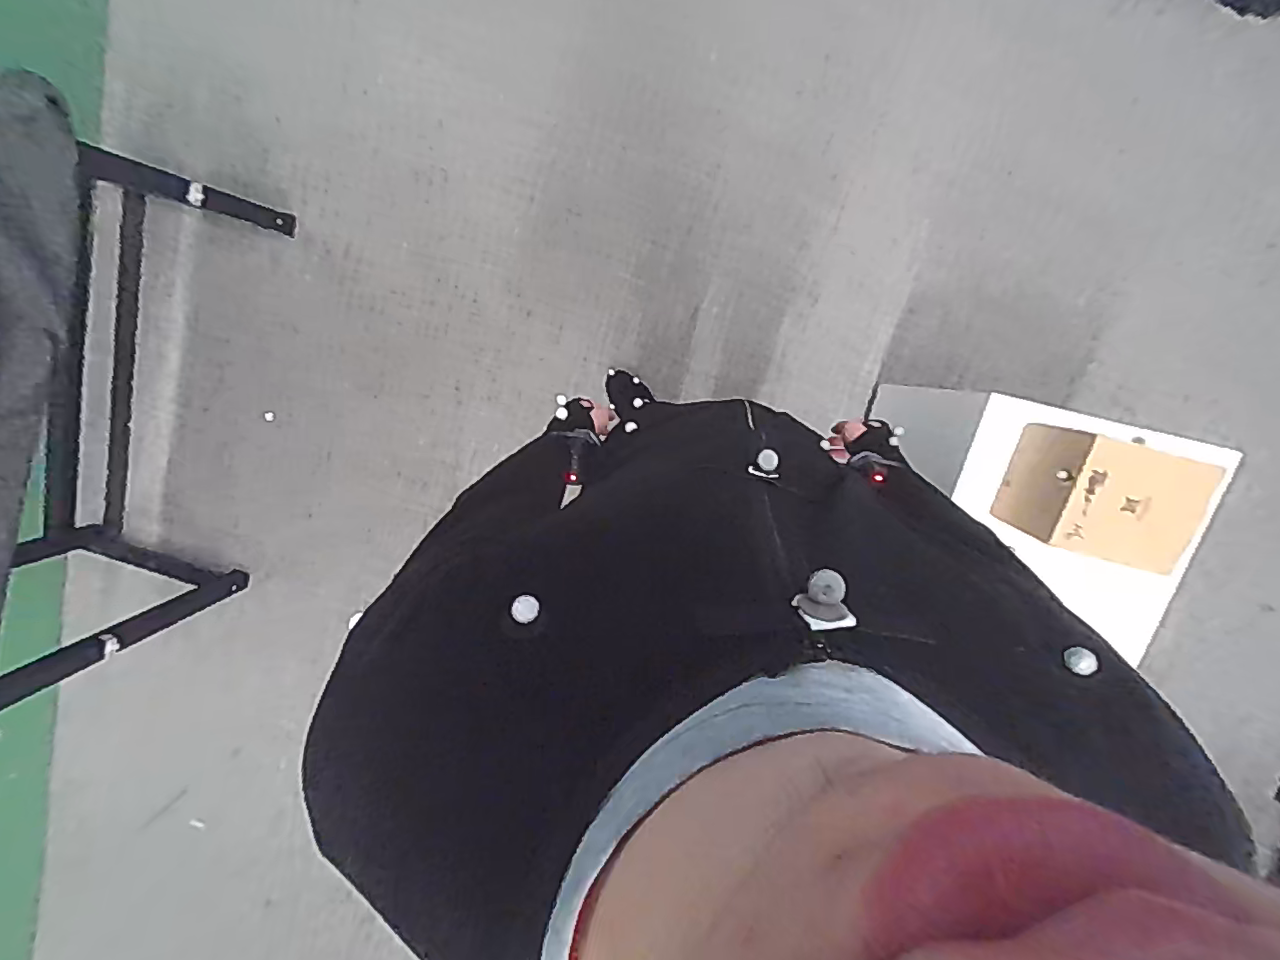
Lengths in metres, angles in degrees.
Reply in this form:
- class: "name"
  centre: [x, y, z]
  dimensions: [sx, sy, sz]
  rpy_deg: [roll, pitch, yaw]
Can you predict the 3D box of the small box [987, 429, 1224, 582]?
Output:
- class: "small box"
  centre: [0.677, 0.027, 0.813]
  dimensions: [0.179, 0.176, 0.168]
  rpy_deg: [16, 103, 2]
